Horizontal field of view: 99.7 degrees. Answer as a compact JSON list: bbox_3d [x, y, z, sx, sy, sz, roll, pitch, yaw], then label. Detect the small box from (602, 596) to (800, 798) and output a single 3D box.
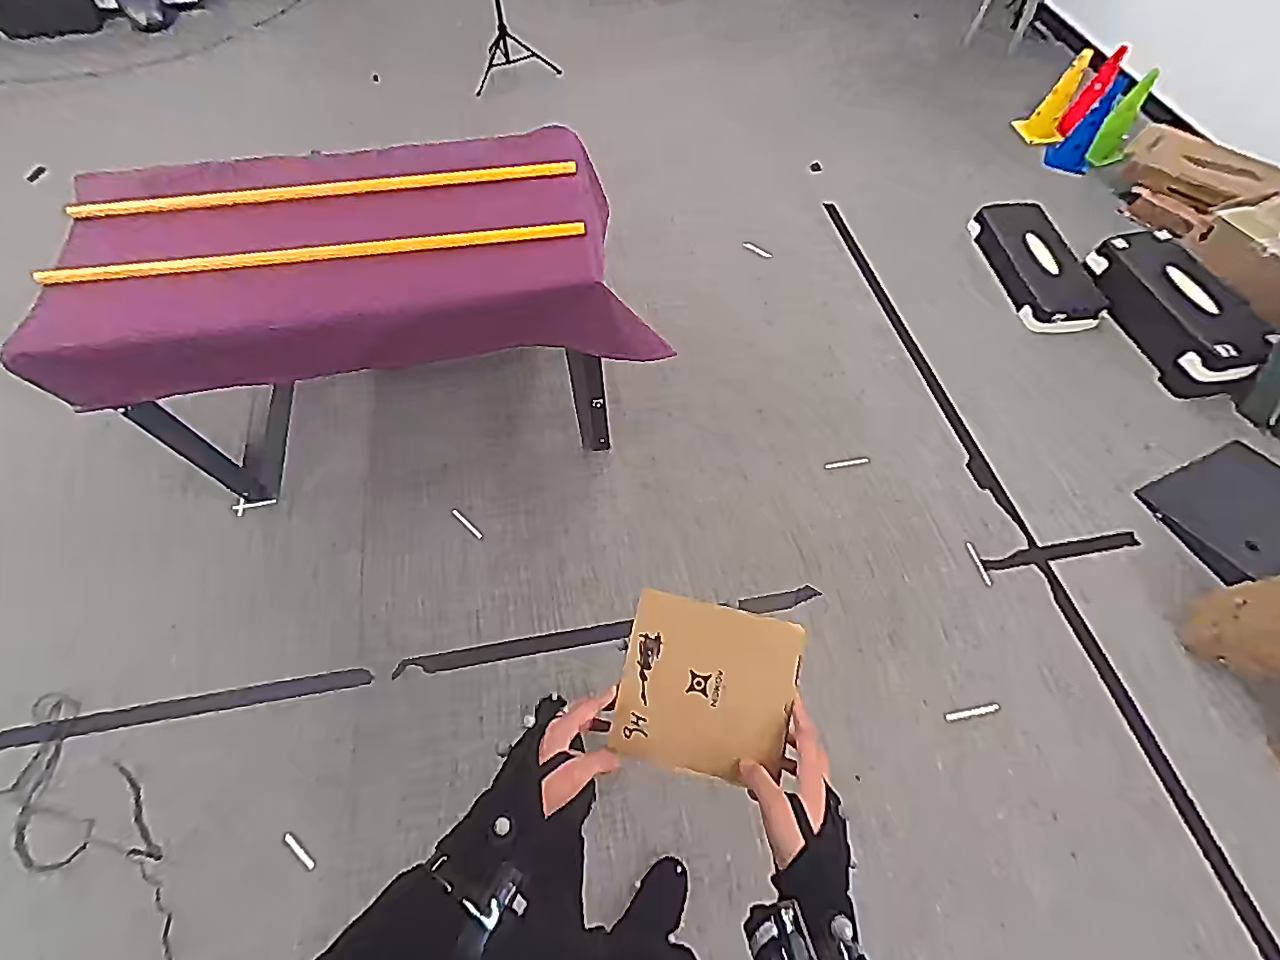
[{"bbox_3d":[0.068,0.237,0.635,0.179,0.176,0.168,13,78,6],"label":"small box"}]
